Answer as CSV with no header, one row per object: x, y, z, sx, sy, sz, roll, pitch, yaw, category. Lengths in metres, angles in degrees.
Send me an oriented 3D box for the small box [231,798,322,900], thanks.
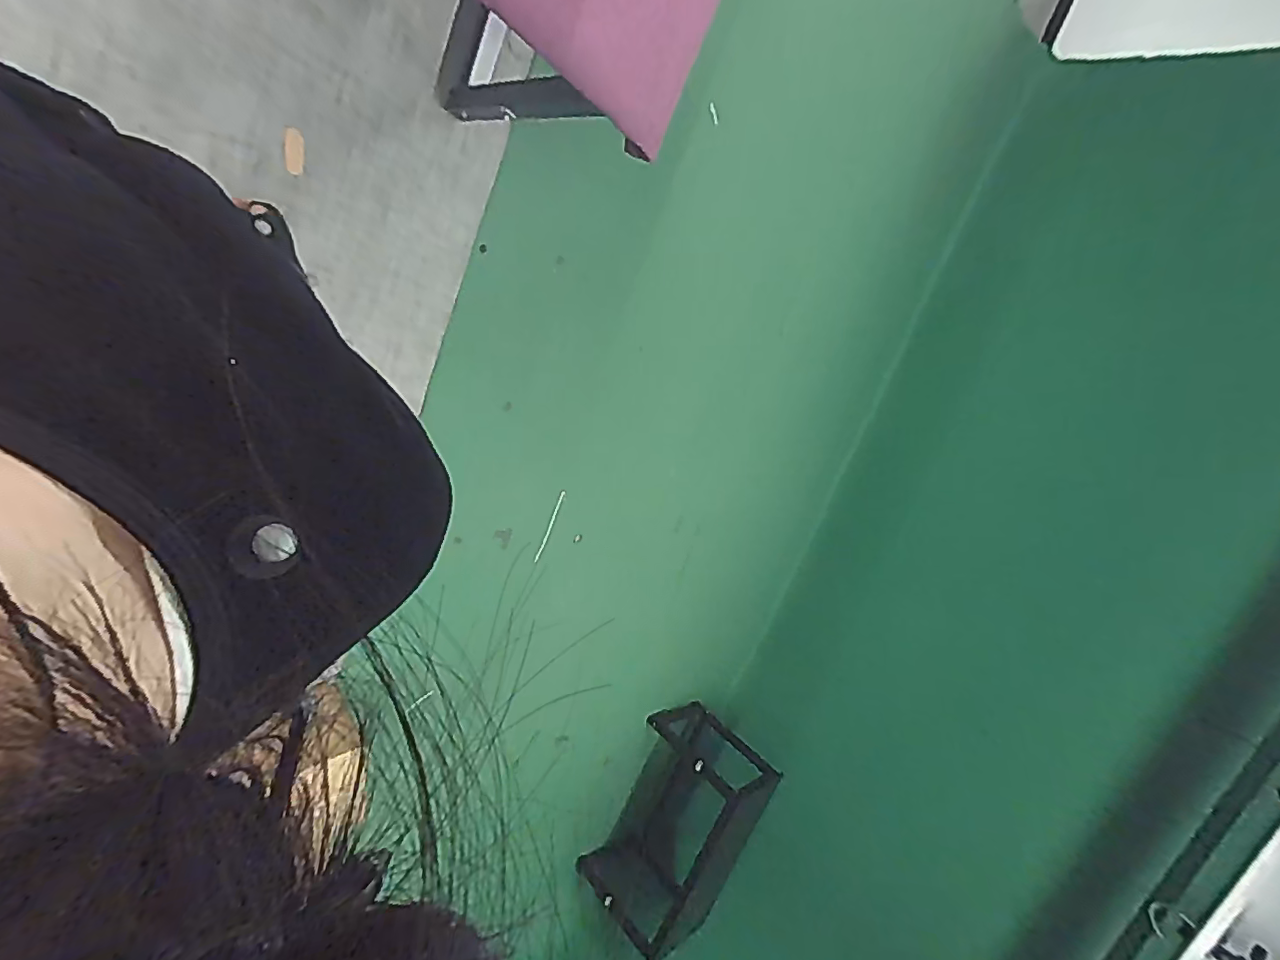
-0.933,0.960,1.389,0.168,0.176,0.179,-8,119,-44,small box

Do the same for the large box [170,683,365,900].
-1.071,0.871,1.575,0.408,0.320,0.320,-10,122,-45,large box

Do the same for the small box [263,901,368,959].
-0.714,1.093,1.185,0.179,0.176,0.168,-8,119,-43,small box

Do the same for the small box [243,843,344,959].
-0.826,1.027,1.286,0.179,0.176,0.168,-10,120,-44,small box
